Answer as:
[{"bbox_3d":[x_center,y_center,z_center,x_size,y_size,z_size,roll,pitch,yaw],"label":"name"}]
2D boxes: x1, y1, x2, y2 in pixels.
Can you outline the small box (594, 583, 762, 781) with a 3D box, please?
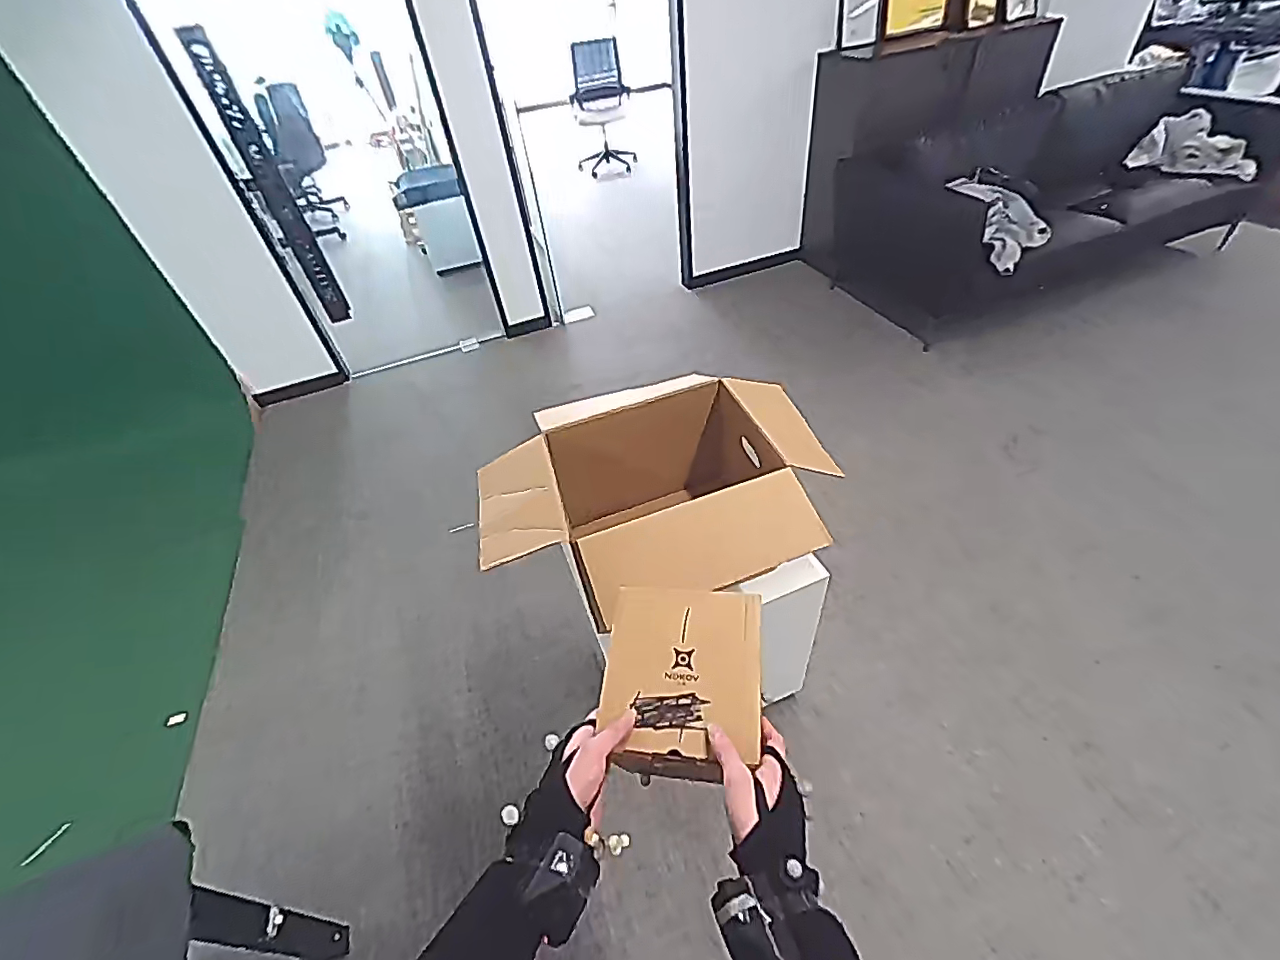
[{"bbox_3d":[0.057,0.239,0.635,0.168,0.176,0.179,1,55,12],"label":"small box"}]
